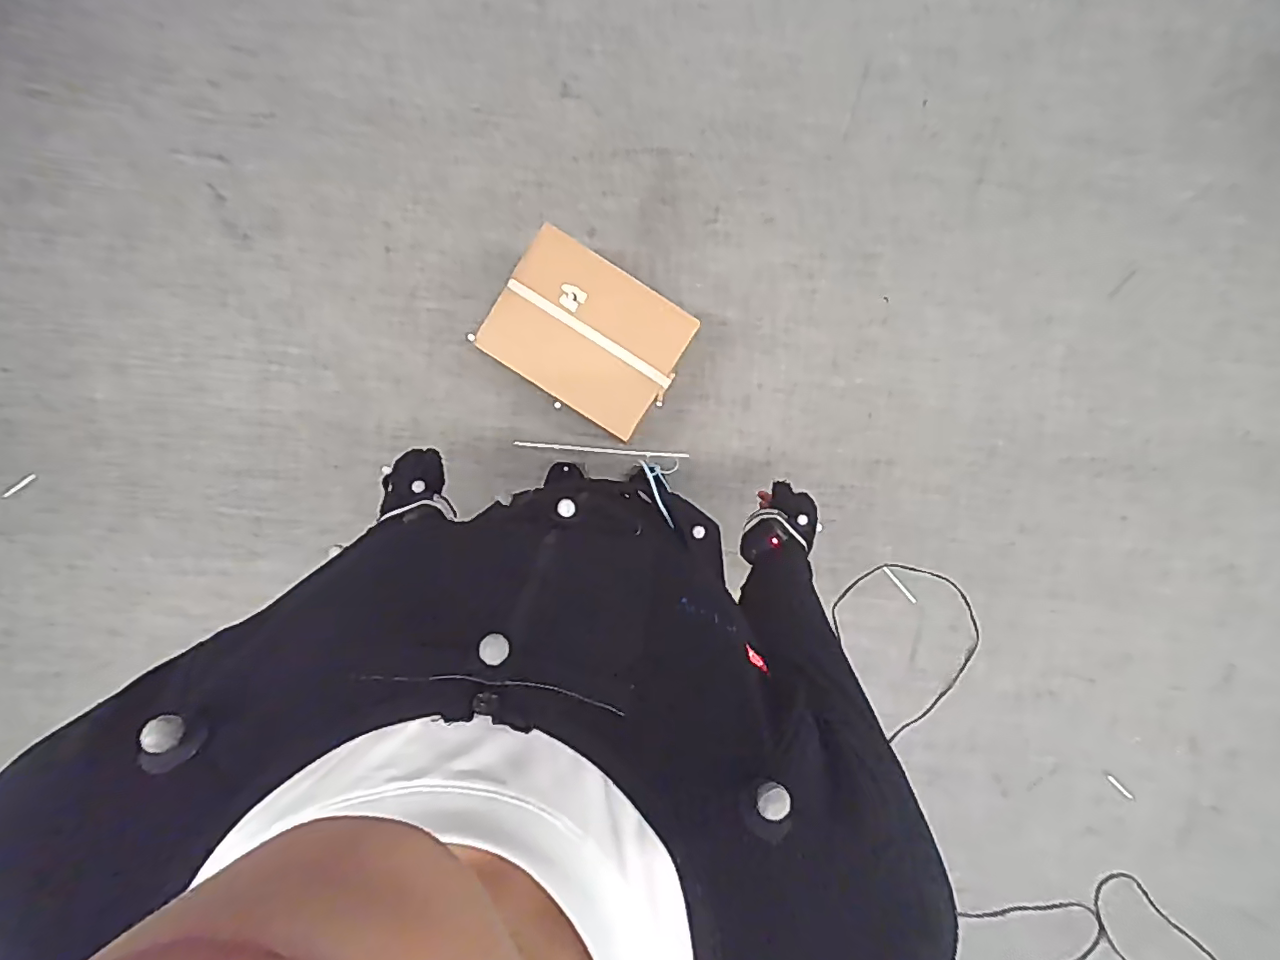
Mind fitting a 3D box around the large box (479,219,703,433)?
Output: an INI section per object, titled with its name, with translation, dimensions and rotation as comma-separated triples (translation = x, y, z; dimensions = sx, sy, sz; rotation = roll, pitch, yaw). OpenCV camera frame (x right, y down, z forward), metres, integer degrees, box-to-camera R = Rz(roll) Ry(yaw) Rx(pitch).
[large box]
translation = -0.104, -0.344, 1.329
dimensions = 0.408, 0.320, 0.320
rotation = 33, 92, -2
